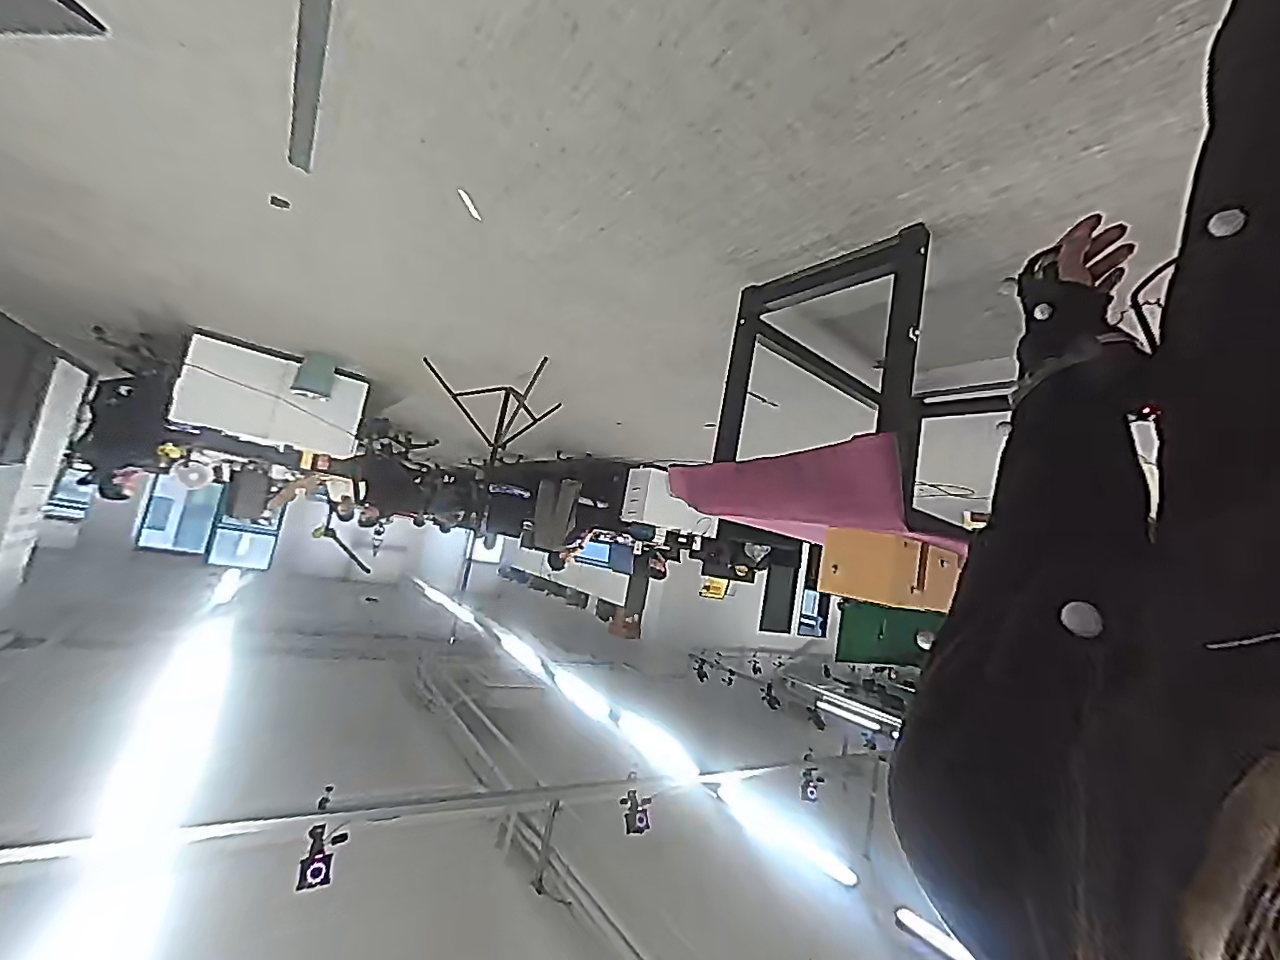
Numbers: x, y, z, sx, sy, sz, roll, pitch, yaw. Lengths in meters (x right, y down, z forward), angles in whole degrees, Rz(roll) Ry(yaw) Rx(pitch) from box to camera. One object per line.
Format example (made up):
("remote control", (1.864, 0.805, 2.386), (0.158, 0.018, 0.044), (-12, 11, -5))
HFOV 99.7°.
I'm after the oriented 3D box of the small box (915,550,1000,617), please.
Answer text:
("small box", (0.960, 0.308, 1.630), (0.168, 0.176, 0.179), (15, 172, -33))
